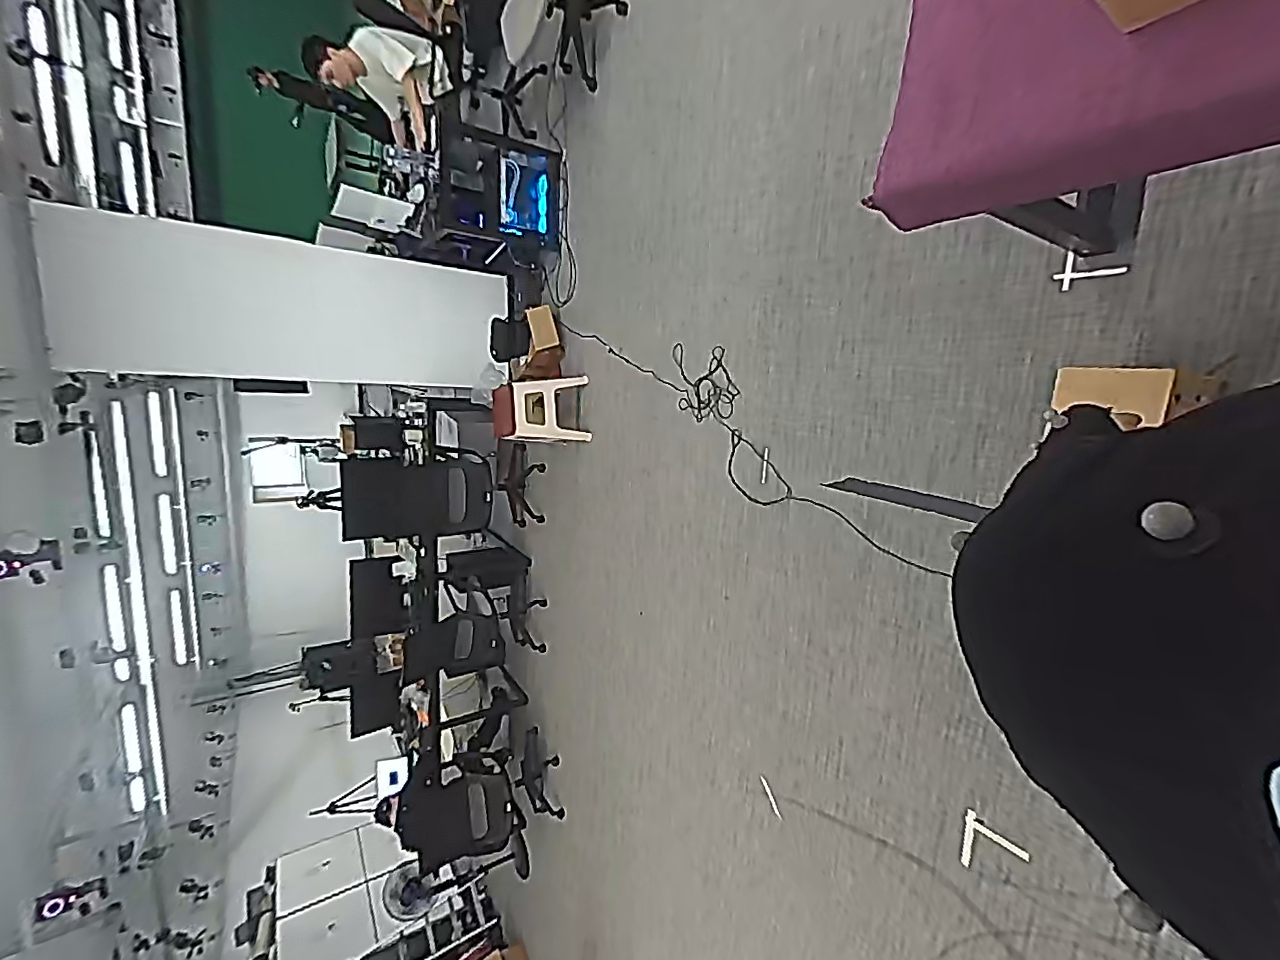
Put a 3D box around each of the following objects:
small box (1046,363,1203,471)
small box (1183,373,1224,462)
[{"bbox_3d":[0.896,-0.120,1.000,0.168,0.176,0.179,20,110,54],"label":"small box"},{"bbox_3d":[1.029,-0.135,1.097,0.168,0.176,0.179,27,116,52],"label":"small box"}]
